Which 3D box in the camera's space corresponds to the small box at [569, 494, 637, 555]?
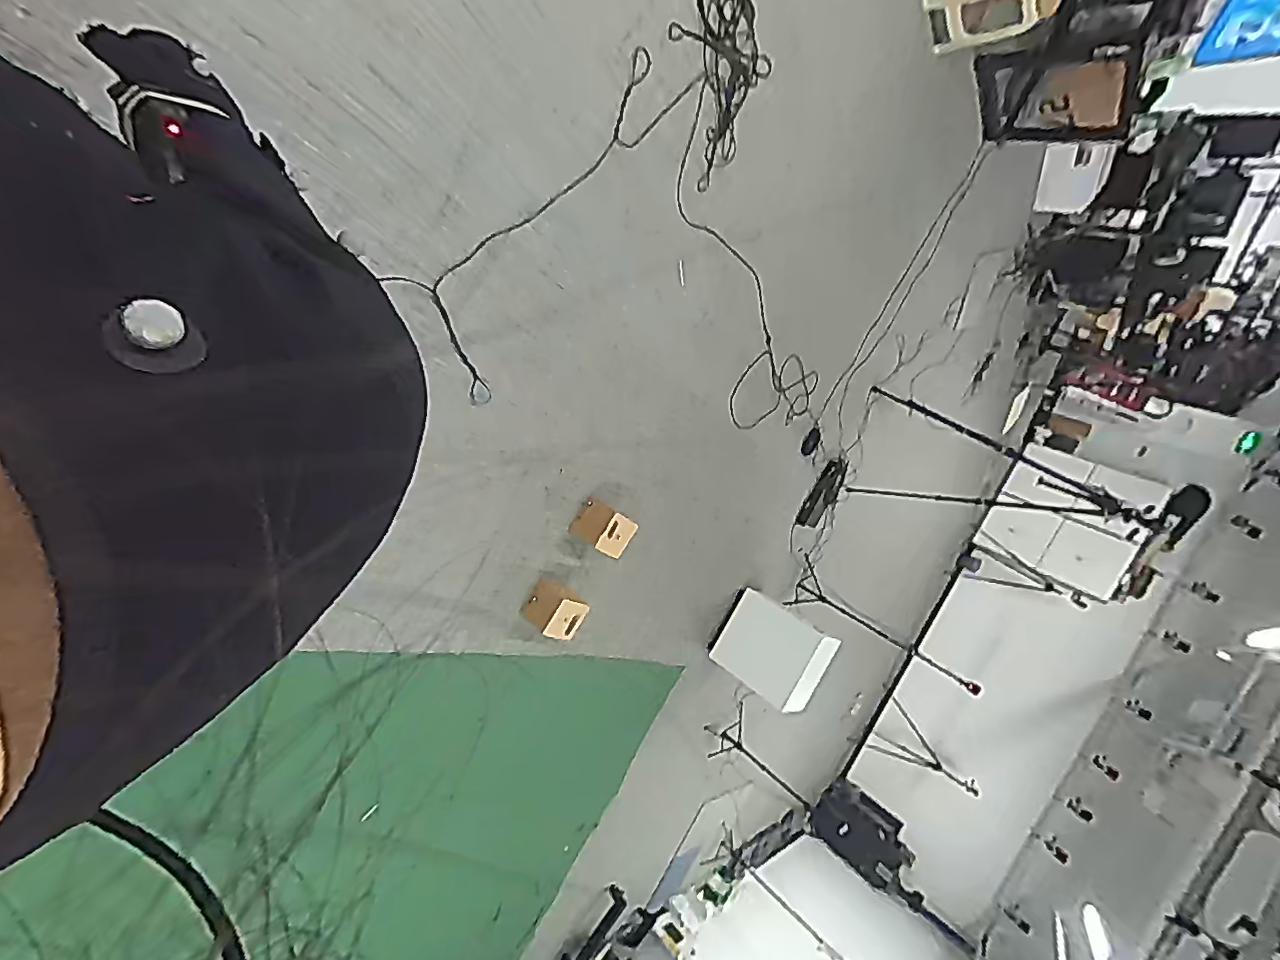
[{"bbox_3d":[-0.153,0.174,2.189,0.168,0.176,0.179,-56,142,-3],"label":"small box"}]
